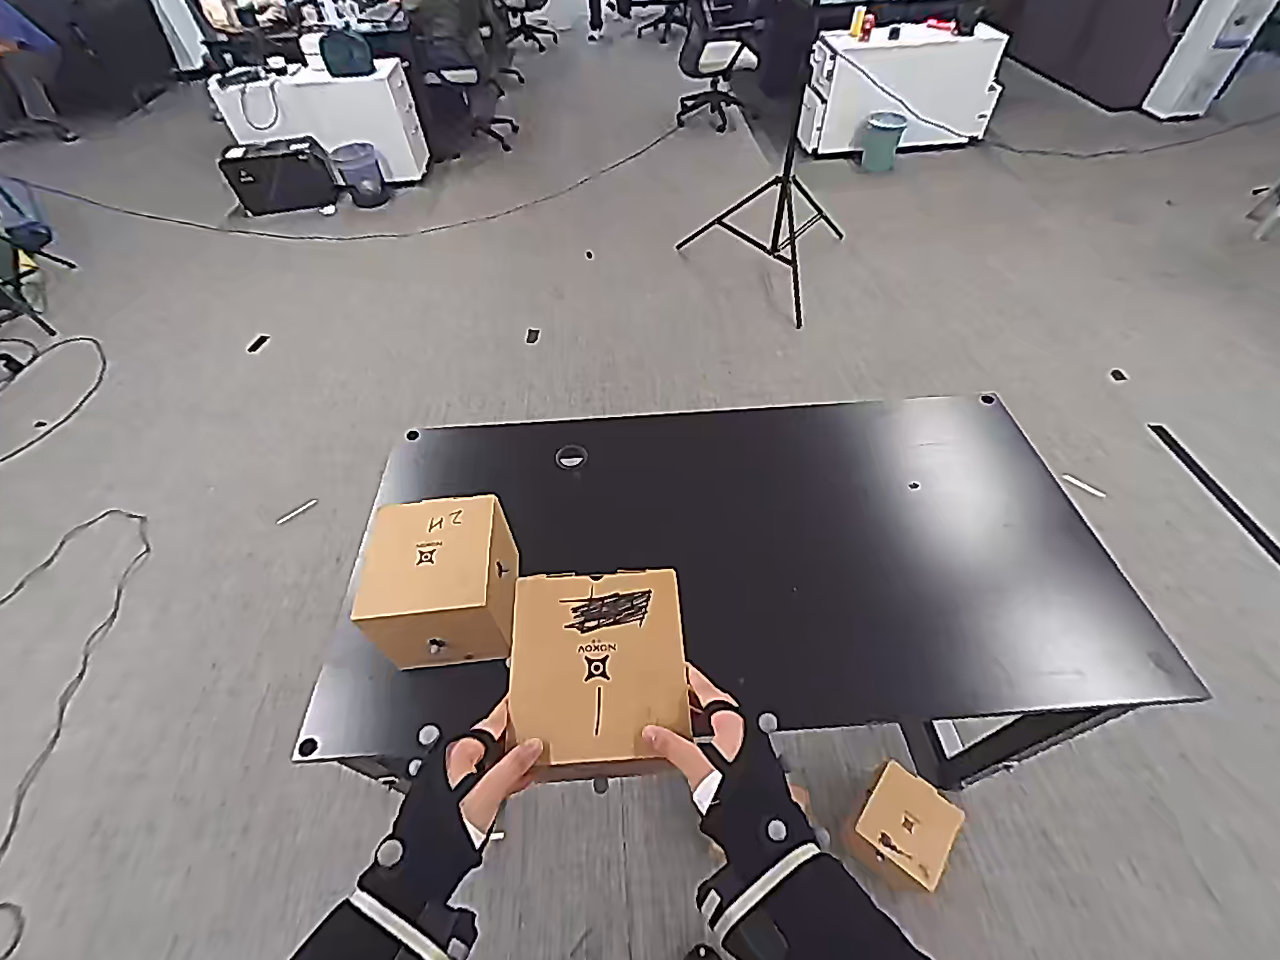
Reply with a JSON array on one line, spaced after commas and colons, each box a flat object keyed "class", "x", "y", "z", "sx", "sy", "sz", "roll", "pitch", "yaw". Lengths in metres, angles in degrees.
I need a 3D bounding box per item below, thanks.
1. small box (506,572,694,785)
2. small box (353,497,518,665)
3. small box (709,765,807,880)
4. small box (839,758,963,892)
[{"class": "small box", "x": -0.039, "y": 0.214, "z": 0.576, "sx": 0.168, "sy": 0.176, "sz": 0.179, "roll": -3, "pitch": 57, "yaw": -2}, {"class": "small box", "x": -0.273, "y": 0.150, "z": 0.768, "sx": 0.168, "sy": 0.176, "sz": 0.179, "roll": -6, "pitch": 50, "yaw": -3}, {"class": "small box", "x": 0.256, "y": 0.758, "z": 1.191, "sx": 0.179, "sy": 0.176, "sz": 0.168, "roll": 12, "pitch": 52, "yaw": 13}, {"class": "small box", "x": 0.559, "y": 0.751, "z": 1.178, "sx": 0.168, "sy": 0.176, "sz": 0.179, "roll": 32, "pitch": 59, "yaw": 26}]
